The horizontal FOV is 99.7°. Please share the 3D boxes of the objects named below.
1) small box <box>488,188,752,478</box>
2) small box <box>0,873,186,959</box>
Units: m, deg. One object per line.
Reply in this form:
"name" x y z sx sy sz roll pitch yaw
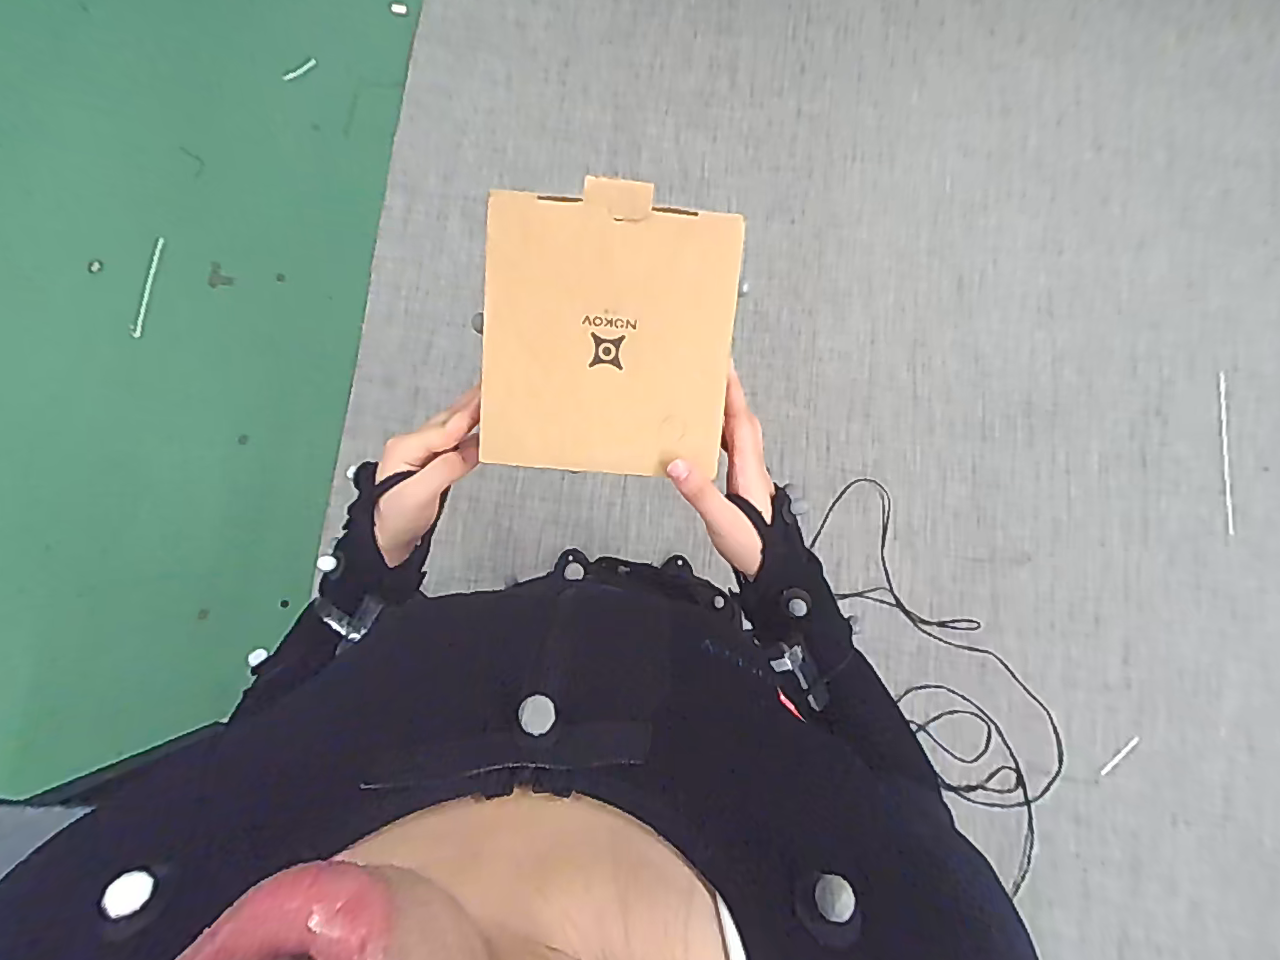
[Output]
"small box" -0.018 -0.107 0.435 0.168 0.176 0.179 4 100 -3
"small box" -0.686 0.611 0.621 0.168 0.176 0.179 26 85 4
